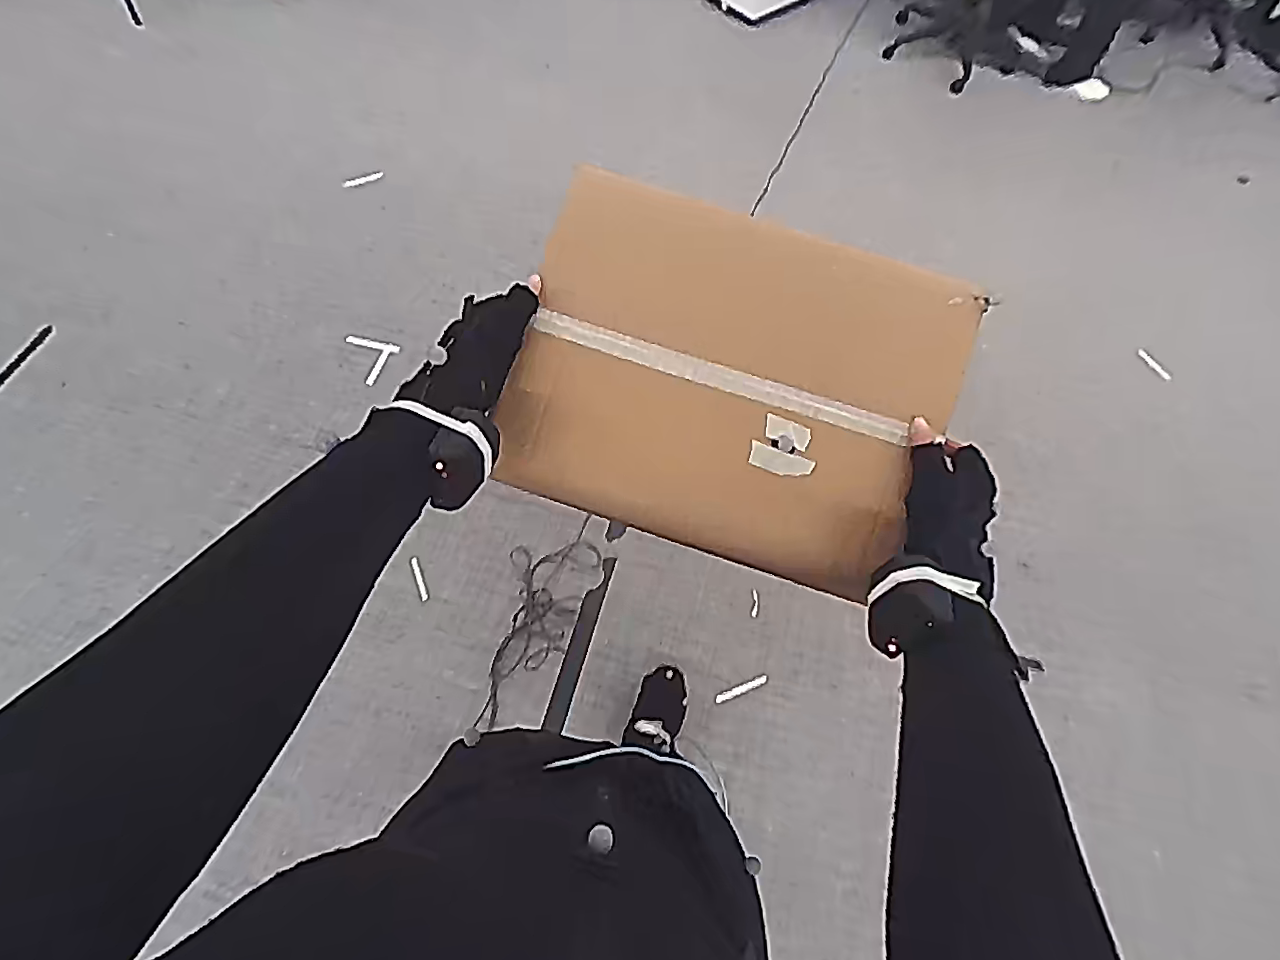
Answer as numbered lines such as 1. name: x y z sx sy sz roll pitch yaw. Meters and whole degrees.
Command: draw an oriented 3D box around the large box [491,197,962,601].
1. large box: 0.086 -0.075 0.676 0.408 0.320 0.320 18 87 2
